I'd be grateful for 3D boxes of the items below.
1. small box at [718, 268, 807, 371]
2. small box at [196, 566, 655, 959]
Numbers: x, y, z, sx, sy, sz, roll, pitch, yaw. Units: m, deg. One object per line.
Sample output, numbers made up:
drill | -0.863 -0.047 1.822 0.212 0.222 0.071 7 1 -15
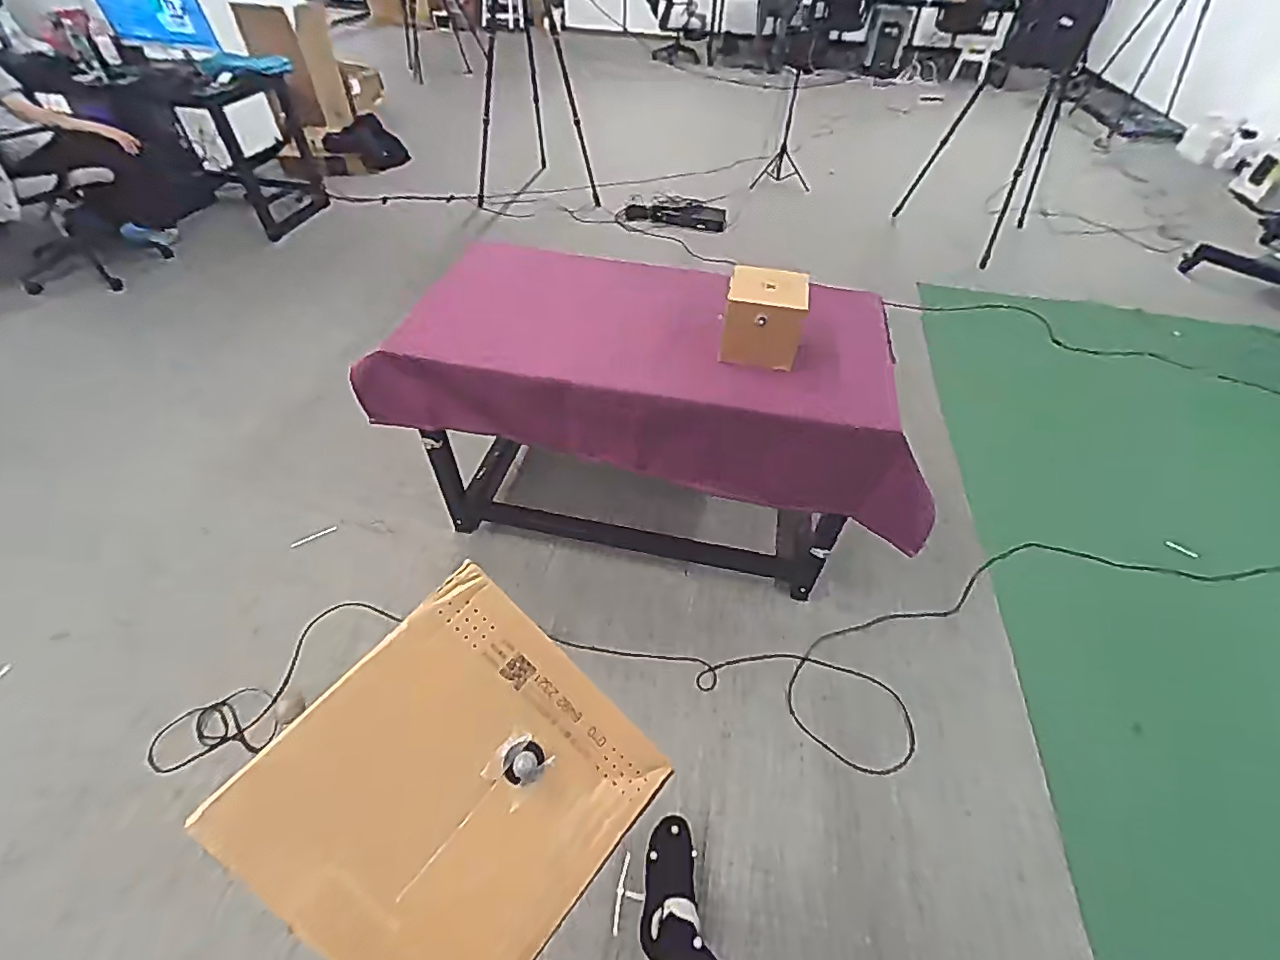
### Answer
small box | 0.286 -0.377 1.280 0.179 0.176 0.168 11 48 7
small box | -0.117 0.175 0.353 0.168 0.179 0.176 45 66 -4
